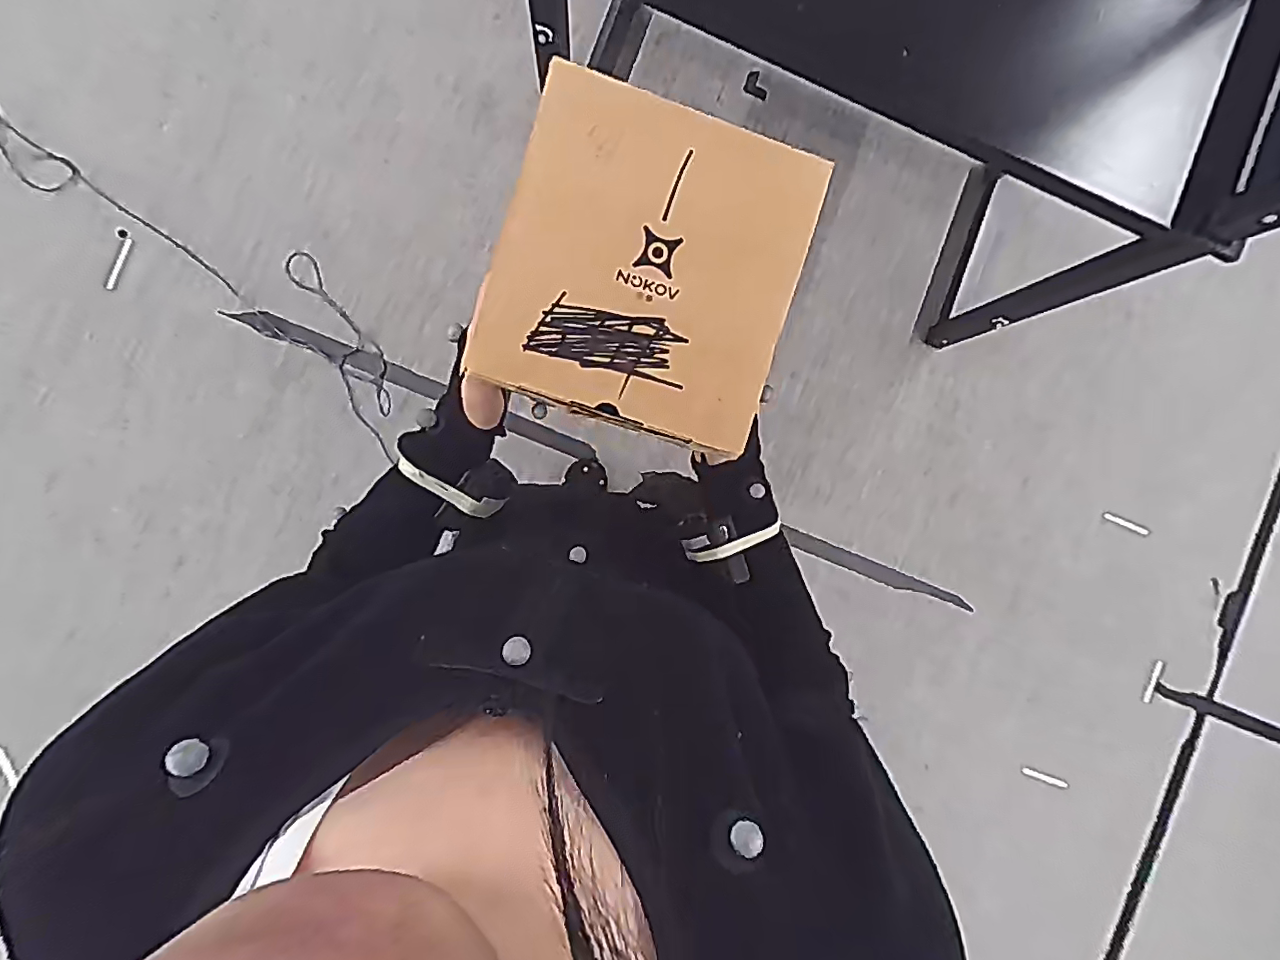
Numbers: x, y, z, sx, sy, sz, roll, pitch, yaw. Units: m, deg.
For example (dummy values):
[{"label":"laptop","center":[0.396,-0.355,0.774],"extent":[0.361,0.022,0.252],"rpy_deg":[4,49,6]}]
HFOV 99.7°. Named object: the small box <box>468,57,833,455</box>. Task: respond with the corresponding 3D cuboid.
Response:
[{"label":"small box","center":[0.001,-0.127,0.379],"extent":[0.168,0.176,0.179],"rpy_deg":[17,93,-6]}]
